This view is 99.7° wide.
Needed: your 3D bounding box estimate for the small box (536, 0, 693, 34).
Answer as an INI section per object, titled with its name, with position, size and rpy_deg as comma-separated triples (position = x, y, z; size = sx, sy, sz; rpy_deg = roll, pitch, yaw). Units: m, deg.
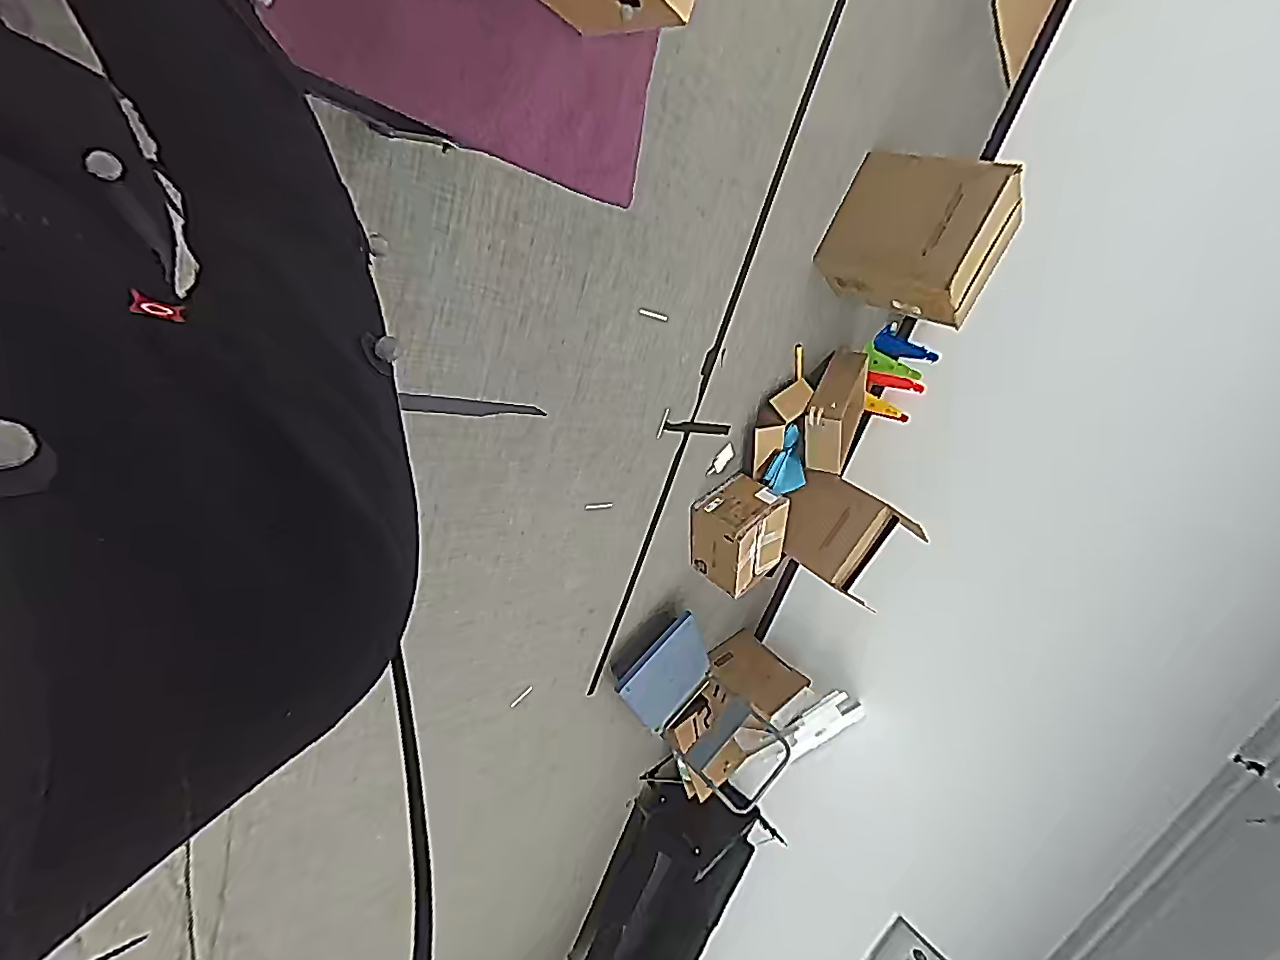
[small box]
position = -0.041, -0.561, 0.507
size = 0.179, 0.176, 0.168
rpy_deg = -1, 115, -50
